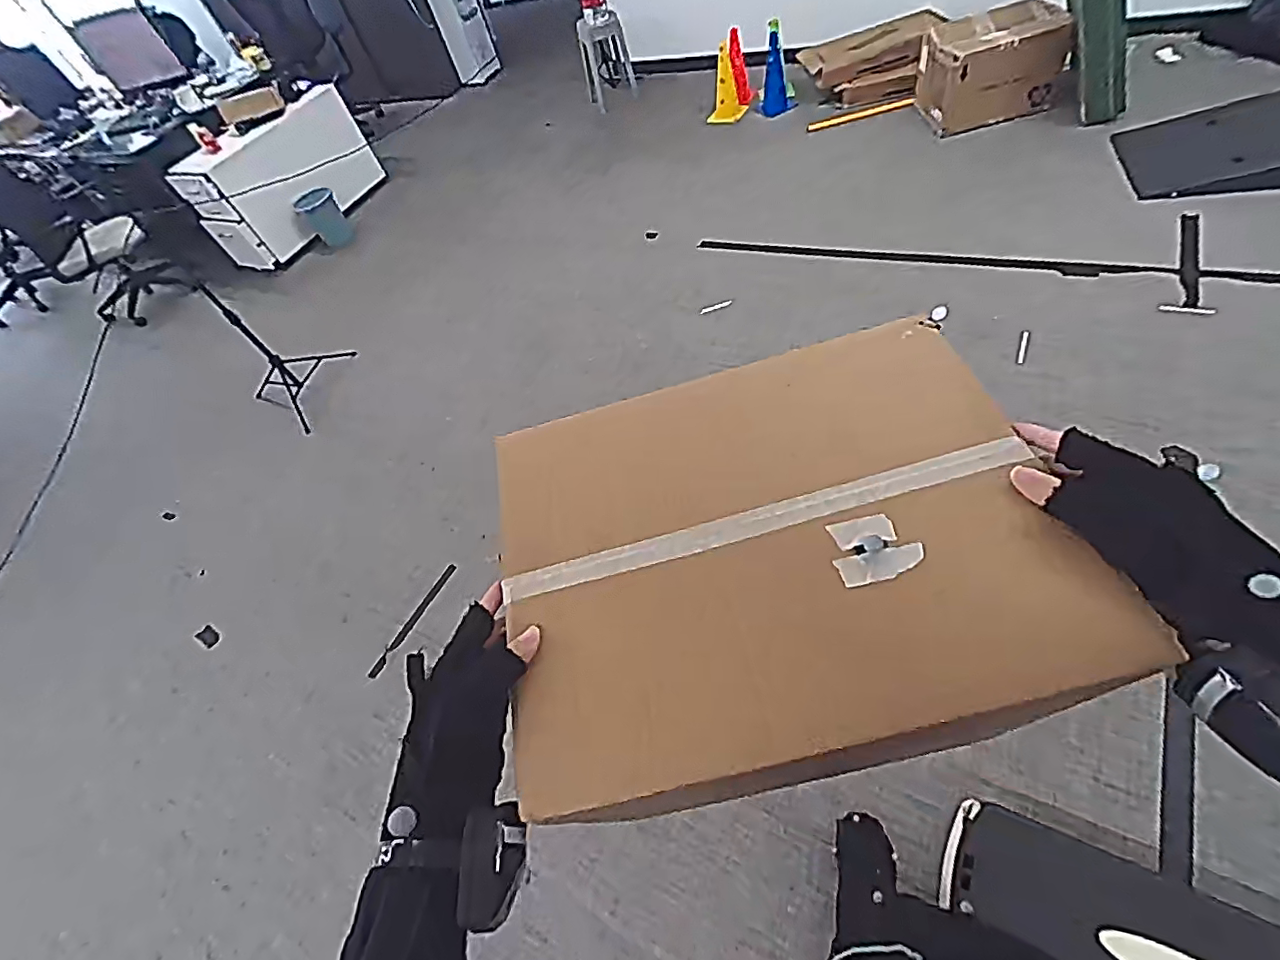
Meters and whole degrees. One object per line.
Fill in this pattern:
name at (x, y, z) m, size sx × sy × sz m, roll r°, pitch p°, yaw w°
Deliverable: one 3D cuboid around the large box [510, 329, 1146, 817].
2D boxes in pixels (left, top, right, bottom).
large box at (0.123, 0.115, 0.547) m, size 0.408 × 0.320 × 0.320 m, roll -16°, pitch 57°, yaw 3°
